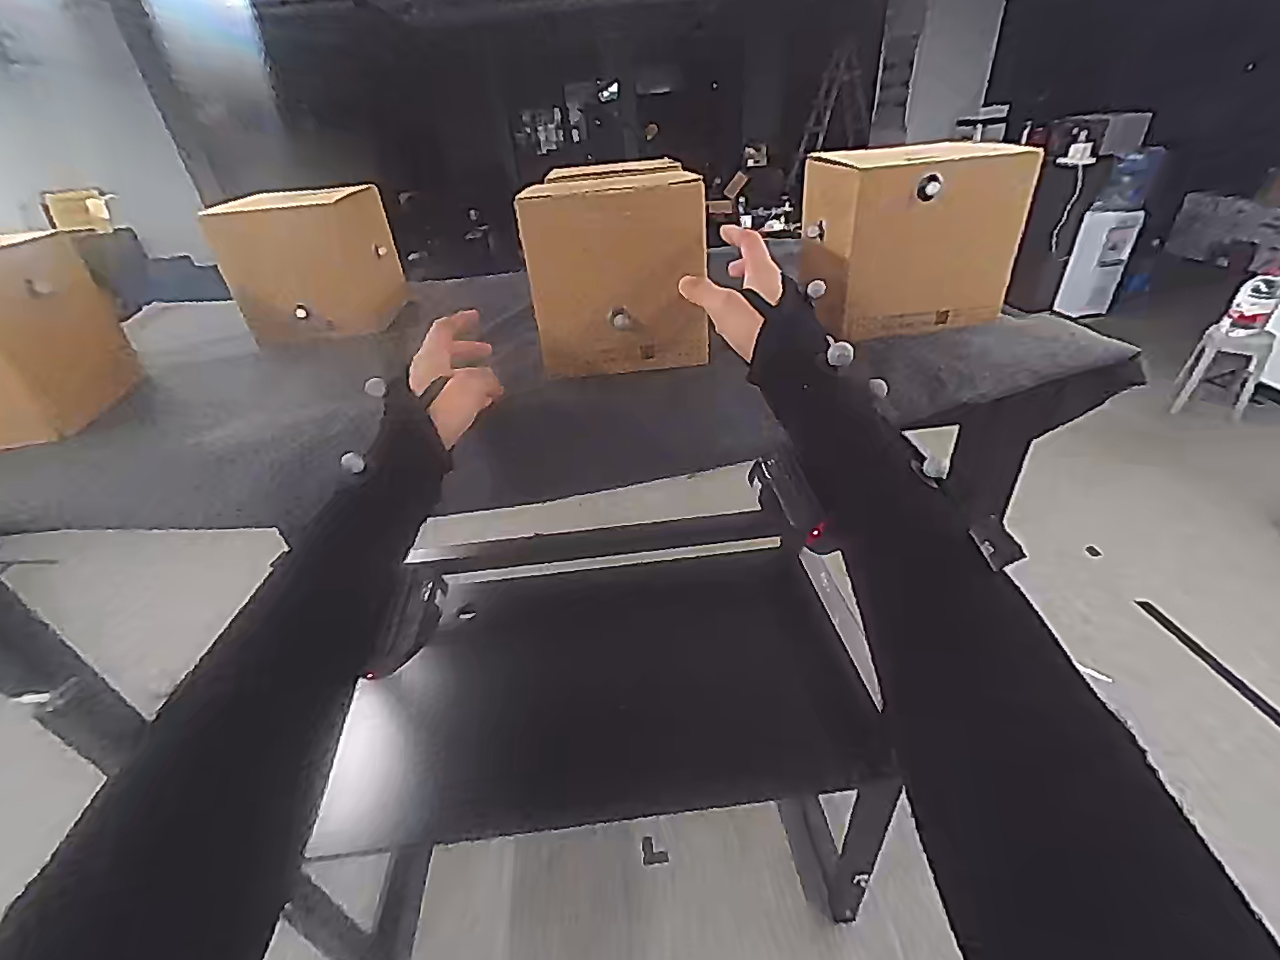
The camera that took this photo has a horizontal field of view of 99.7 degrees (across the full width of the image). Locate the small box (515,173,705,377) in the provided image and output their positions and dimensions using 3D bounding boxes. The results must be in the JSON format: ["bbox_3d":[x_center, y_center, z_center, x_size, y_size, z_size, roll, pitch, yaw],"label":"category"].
[{"bbox_3d":[-0.025,-0.221,0.575,0.168,0.176,0.179,-6,32,0],"label":"small box"}]

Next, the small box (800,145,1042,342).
[{"bbox_3d":[0.281,-0.261,0.594,0.168,0.176,0.179,-5,33,2],"label":"small box"}]

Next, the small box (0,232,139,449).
[{"bbox_3d":[-0.664,-0.137,0.540,0.168,0.176,0.179,-11,35,-10],"label":"small box"}]

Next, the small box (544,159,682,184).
[{"bbox_3d":[-0.032,-0.358,0.785,0.179,0.176,0.168,-5,33,0],"label":"small box"}]
